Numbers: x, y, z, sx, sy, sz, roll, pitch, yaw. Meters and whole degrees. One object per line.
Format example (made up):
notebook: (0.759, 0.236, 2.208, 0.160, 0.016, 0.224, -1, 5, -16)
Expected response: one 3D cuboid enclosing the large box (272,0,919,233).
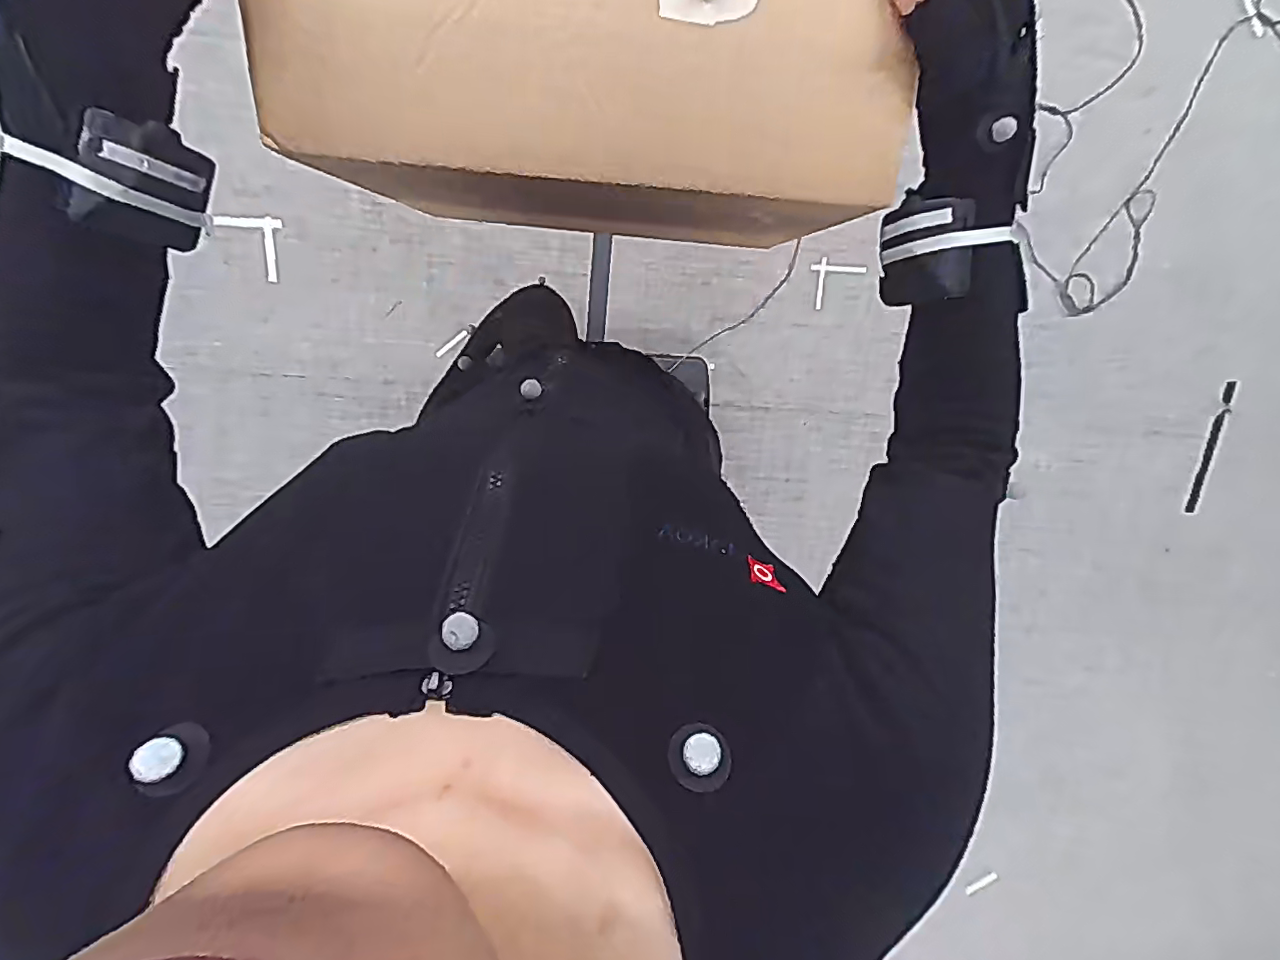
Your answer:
large box: (-0.026, -0.402, 0.453, 0.408, 0.320, 0.320, 3, 109, -3)
